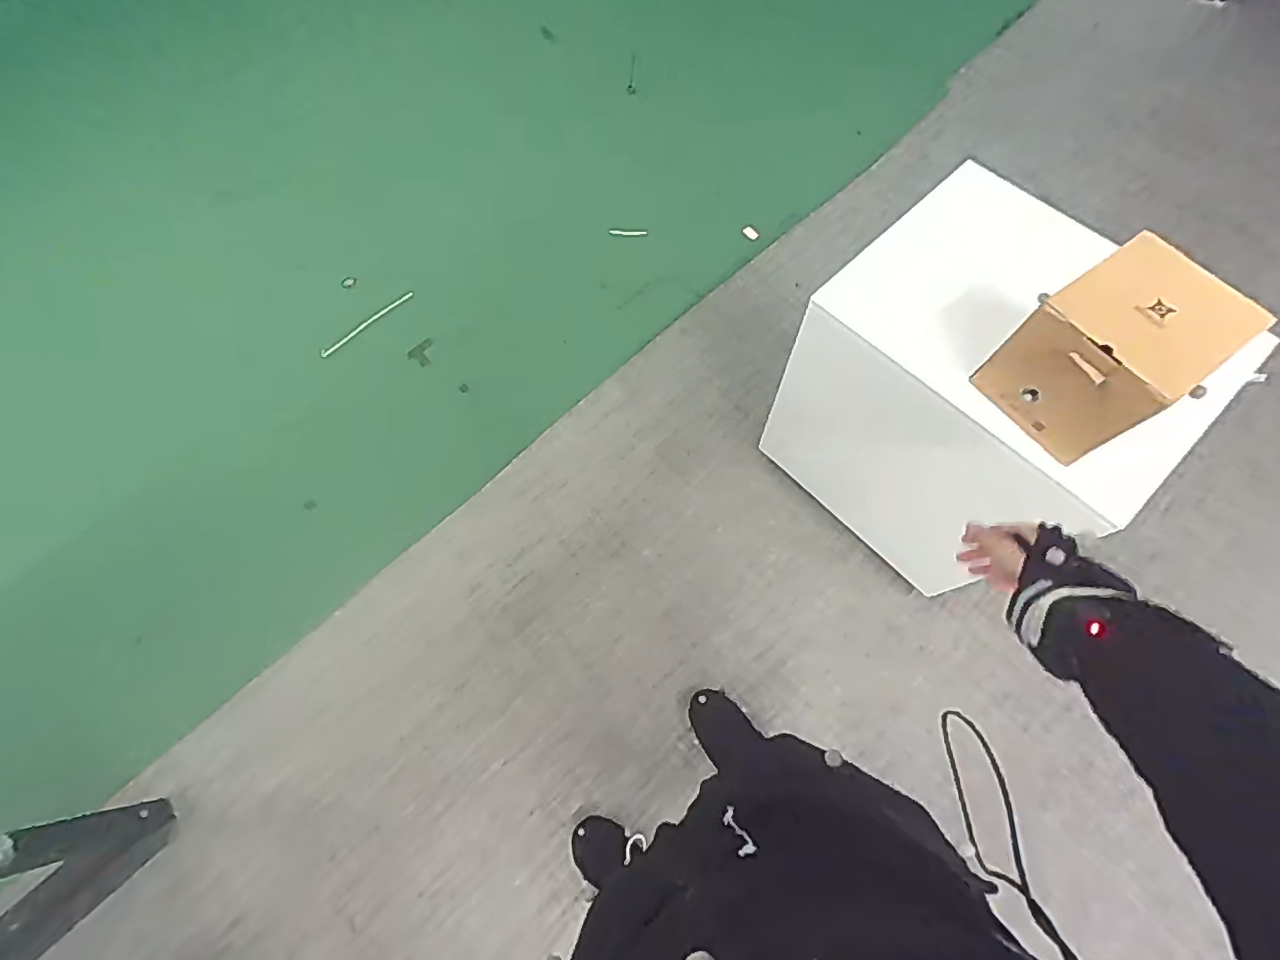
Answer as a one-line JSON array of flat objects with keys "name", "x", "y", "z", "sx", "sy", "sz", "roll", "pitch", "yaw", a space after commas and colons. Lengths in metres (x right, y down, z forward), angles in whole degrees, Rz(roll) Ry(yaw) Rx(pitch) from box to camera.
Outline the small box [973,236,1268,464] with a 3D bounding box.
[{"name": "small box", "x": 0.565, "y": -0.150, "z": 0.666, "sx": 0.179, "sy": 0.176, "sz": 0.168, "roll": -34, "pitch": 72, "yaw": -9}]
